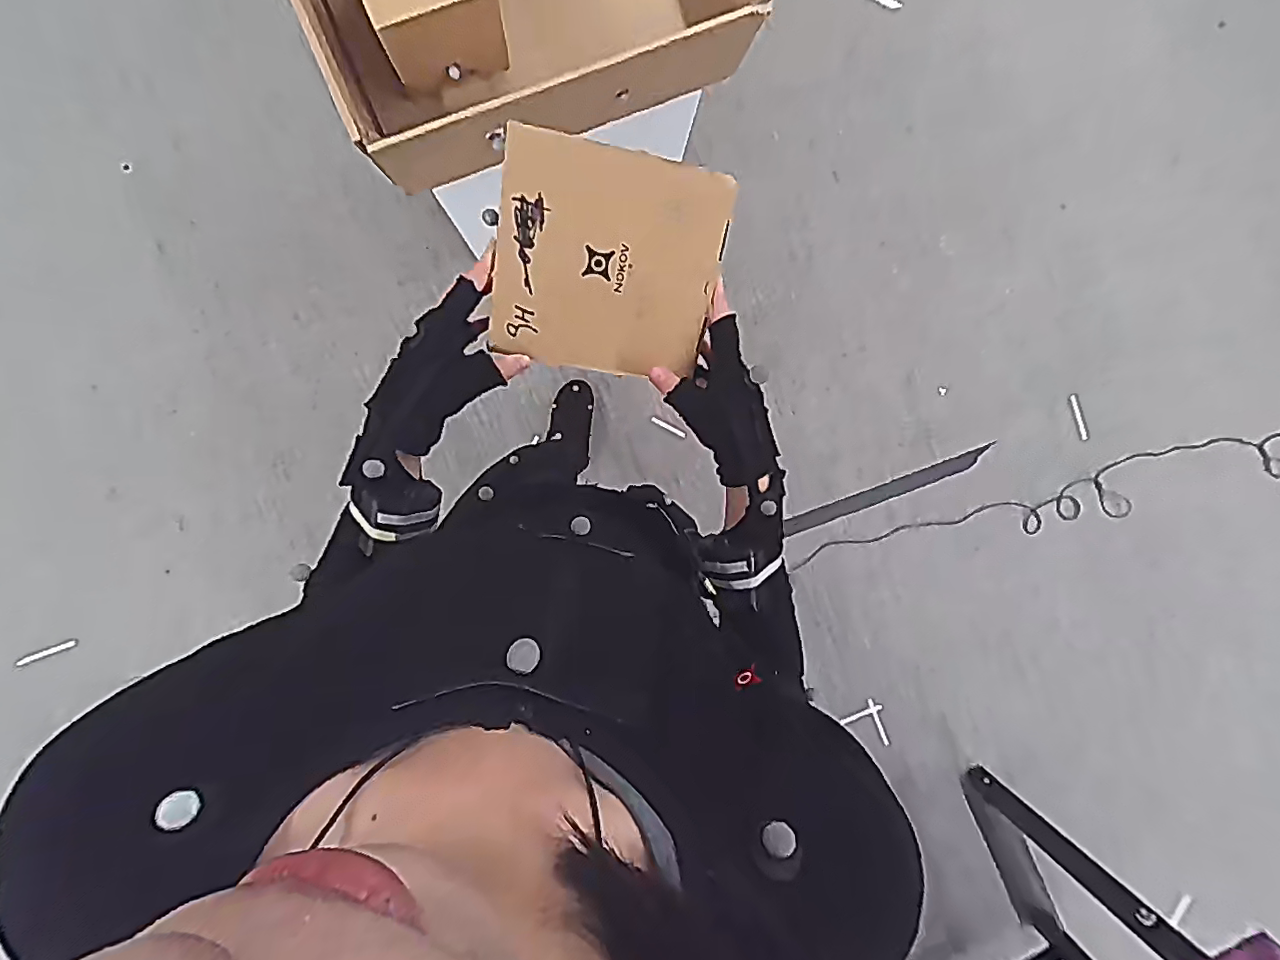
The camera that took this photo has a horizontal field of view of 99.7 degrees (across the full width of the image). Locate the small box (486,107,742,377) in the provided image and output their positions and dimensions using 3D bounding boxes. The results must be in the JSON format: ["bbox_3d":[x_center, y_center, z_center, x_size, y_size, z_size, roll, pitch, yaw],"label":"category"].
[{"bbox_3d":[-0.033,-0.204,0.493,0.179,0.176,0.168,8,110,-11],"label":"small box"}]

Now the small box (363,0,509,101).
[{"bbox_3d":[-0.295,-0.679,0.747,0.168,0.176,0.179,-22,101,-3],"label":"small box"}]
